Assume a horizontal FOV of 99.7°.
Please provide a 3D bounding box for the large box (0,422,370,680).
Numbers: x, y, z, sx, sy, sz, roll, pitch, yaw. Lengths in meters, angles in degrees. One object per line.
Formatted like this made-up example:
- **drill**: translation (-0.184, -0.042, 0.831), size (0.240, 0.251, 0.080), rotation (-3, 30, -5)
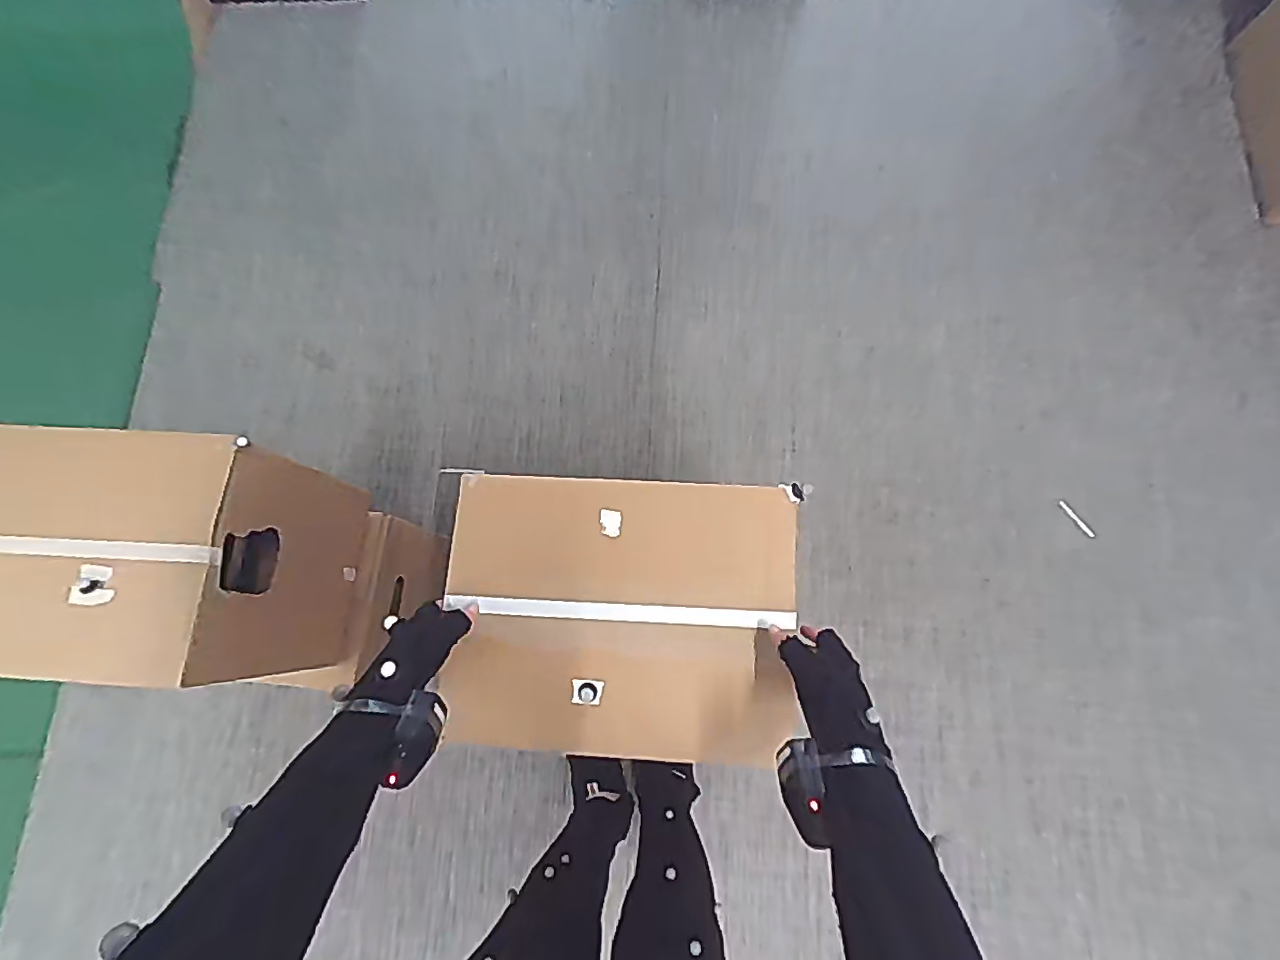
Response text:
- **large box**: translation (-0.707, 0.120, 0.821), size (0.408, 0.320, 0.320), rotation (3, 75, 3)
